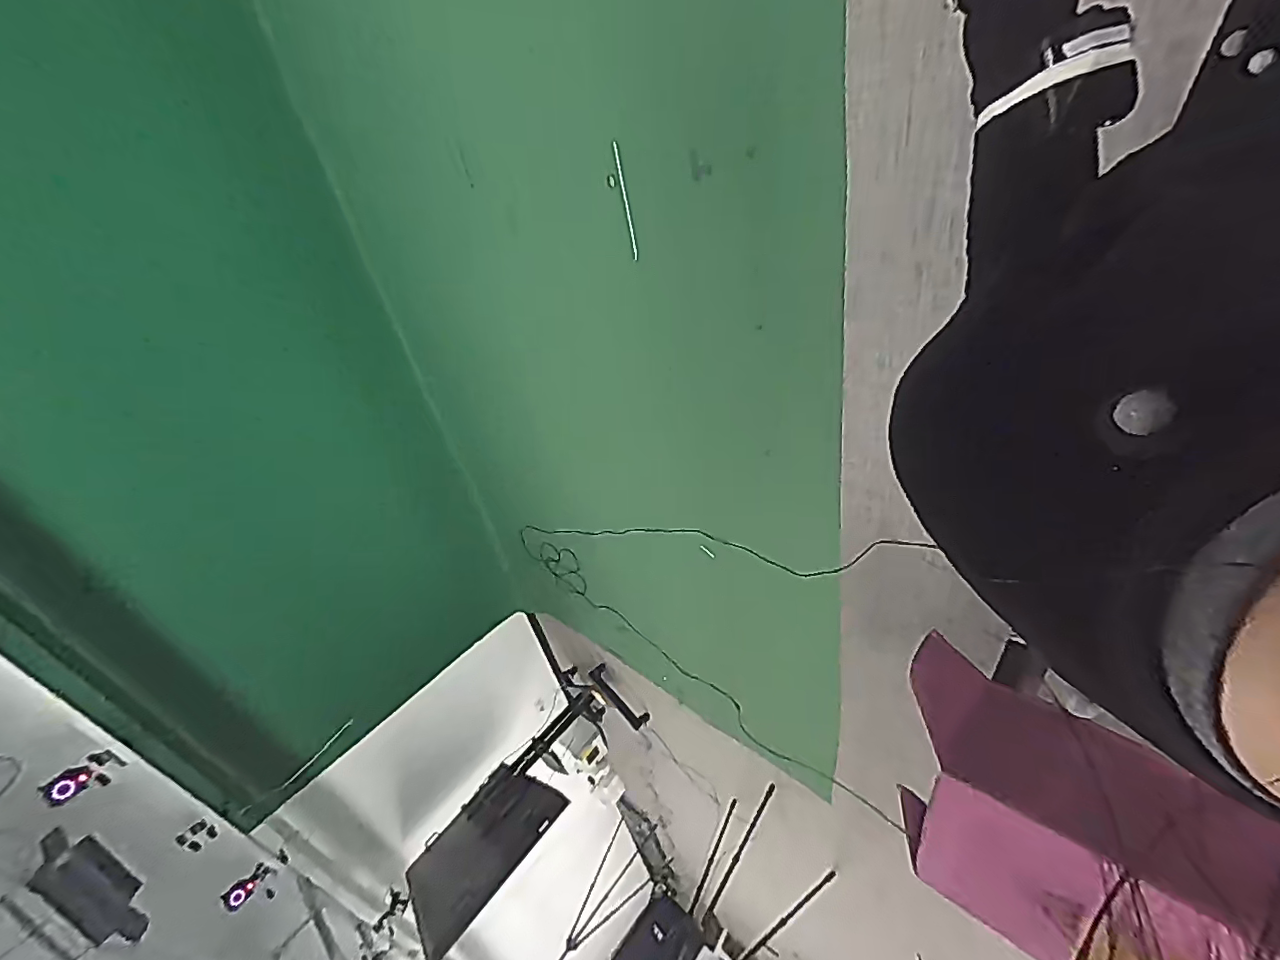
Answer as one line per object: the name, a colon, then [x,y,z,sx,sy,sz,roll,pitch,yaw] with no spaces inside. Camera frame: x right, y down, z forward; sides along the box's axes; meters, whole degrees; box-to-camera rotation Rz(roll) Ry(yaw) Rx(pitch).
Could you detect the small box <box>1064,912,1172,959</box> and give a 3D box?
small box: [0.961,1.019,1.069,0.179,0.176,0.168,21,136,39]
